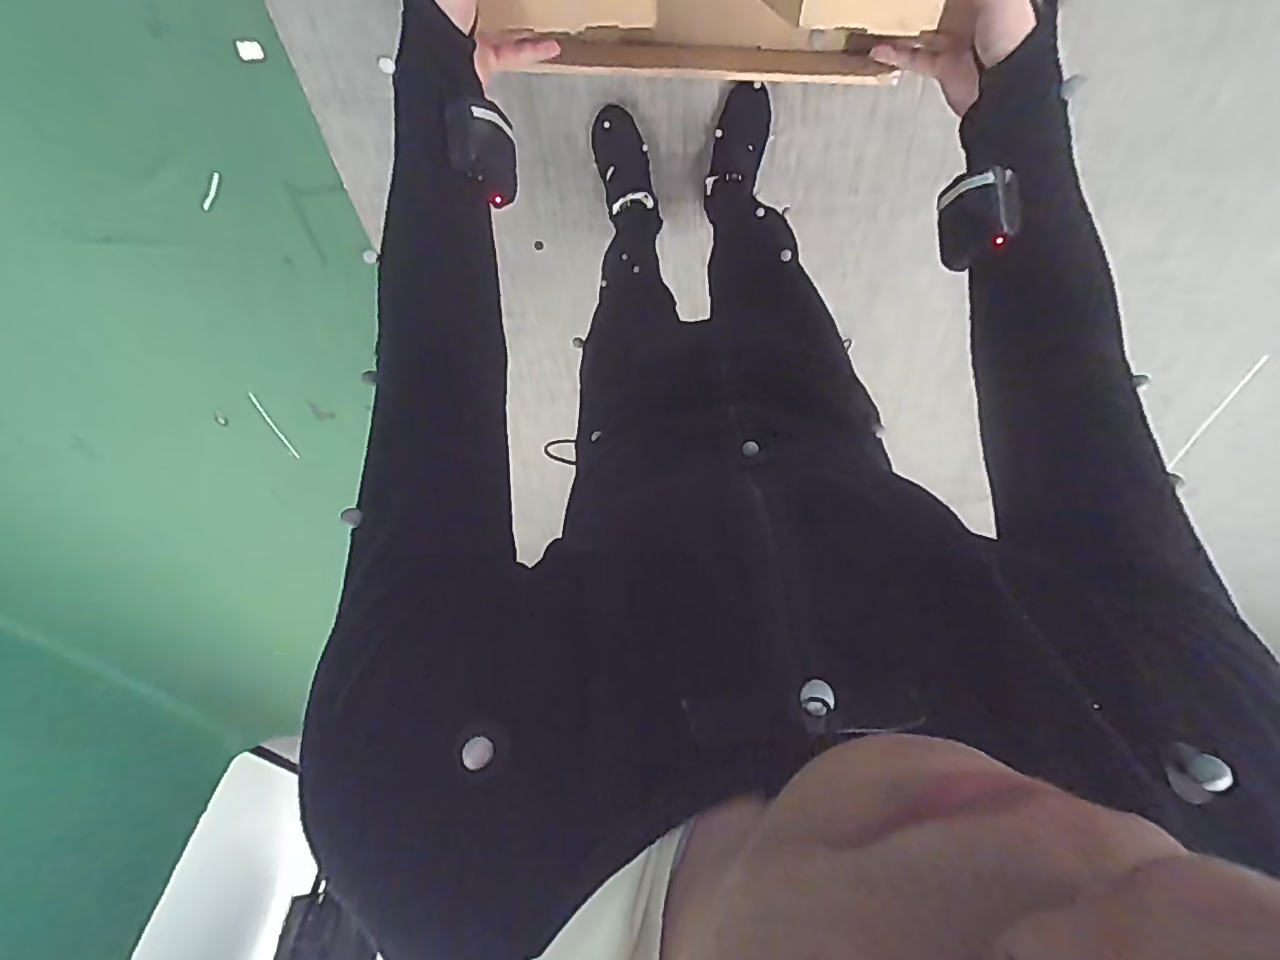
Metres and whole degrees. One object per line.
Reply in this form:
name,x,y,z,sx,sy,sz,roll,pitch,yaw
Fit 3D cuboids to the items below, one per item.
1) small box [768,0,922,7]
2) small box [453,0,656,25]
small box,0.212,-0.604,0.543,0.168,0.176,0.179,1,136,0
small box,-0.070,-0.494,0.437,0.168,0.176,0.179,0,138,2
